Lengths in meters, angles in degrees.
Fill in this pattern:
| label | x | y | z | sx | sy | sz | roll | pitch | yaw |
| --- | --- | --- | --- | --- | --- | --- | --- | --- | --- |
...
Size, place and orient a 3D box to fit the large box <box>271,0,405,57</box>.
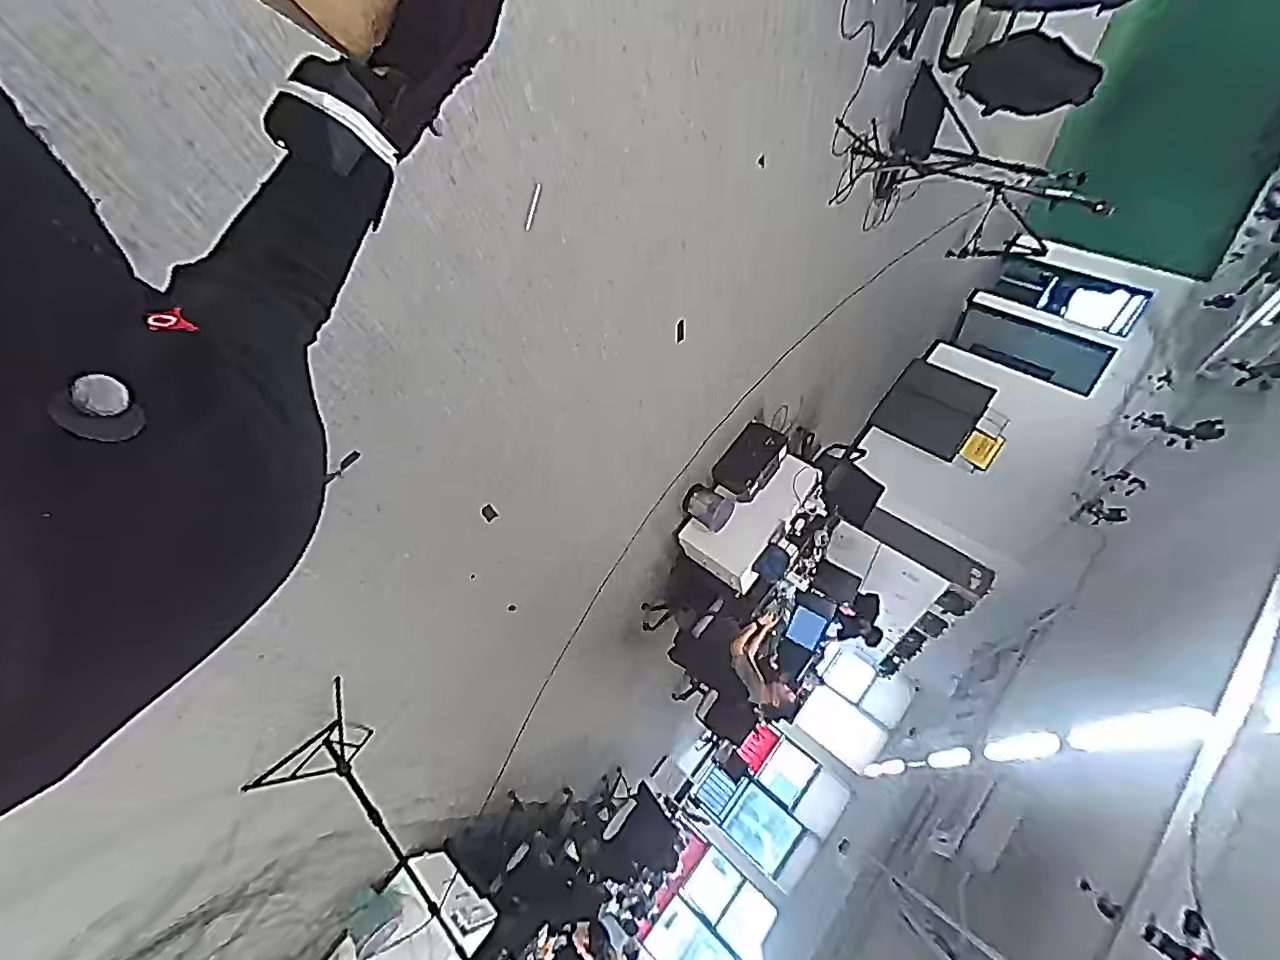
| label | x | y | z | sx | sy | sz | roll | pitch | yaw |
| --- | --- | --- | --- | --- | --- | --- | --- | --- | --- |
| large box | -0.305 | -0.574 | 0.297 | 0.320 | 0.320 | 0.408 | -49 | 154 | 8 |
